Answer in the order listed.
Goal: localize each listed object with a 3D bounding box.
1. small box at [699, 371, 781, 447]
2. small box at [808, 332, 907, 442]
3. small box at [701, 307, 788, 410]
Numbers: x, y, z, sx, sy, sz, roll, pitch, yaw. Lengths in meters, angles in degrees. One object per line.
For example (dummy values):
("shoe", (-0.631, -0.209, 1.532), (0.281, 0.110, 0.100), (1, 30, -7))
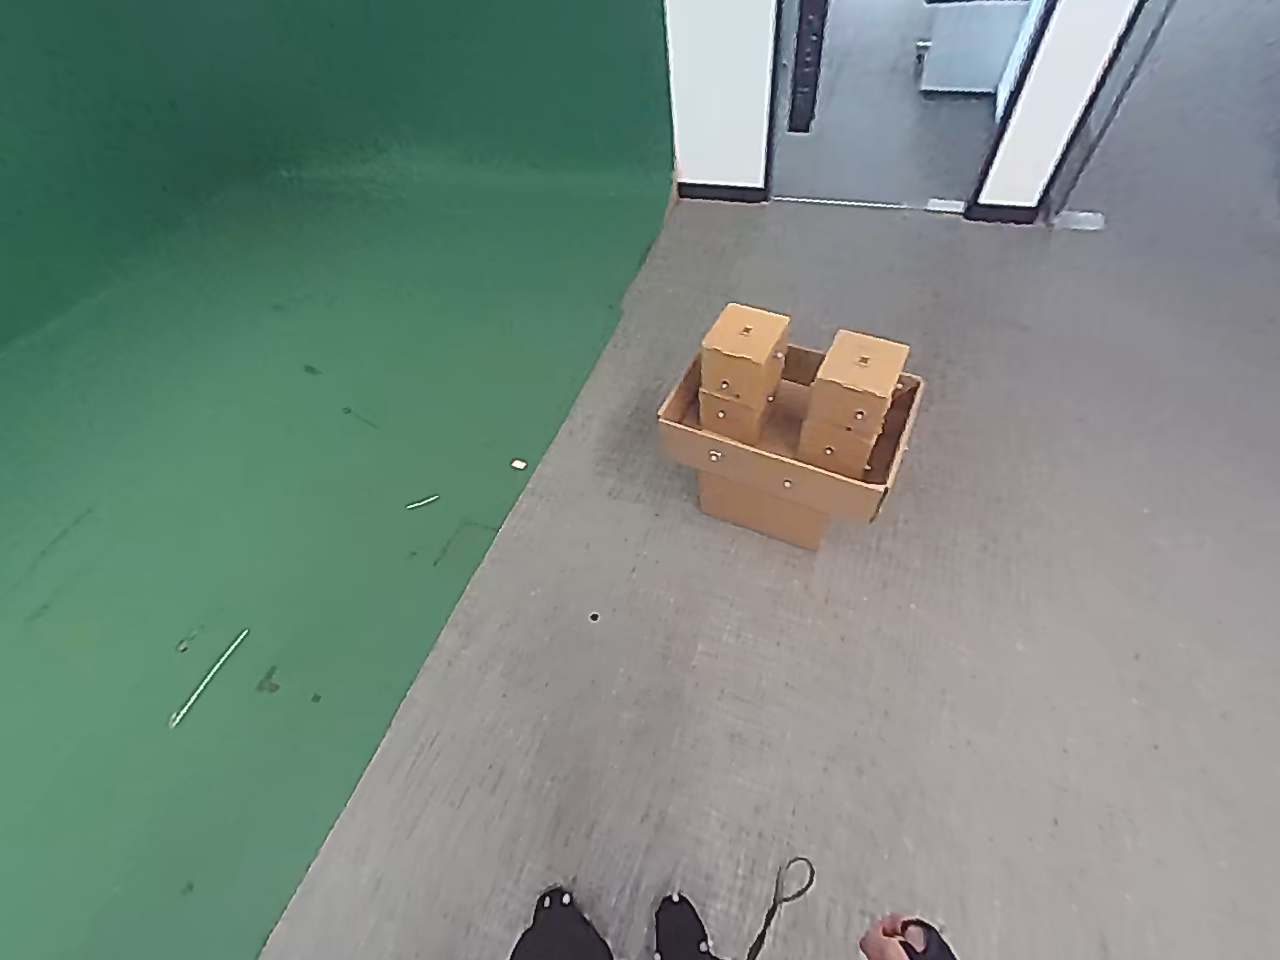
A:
("small box", (0.283, -0.221, 1.544), (0.179, 0.176, 0.168), (23, 62, 22))
("small box", (0.516, -0.221, 1.304), (0.168, 0.176, 0.179), (22, 60, 20))
("small box", (0.269, -0.315, 1.410), (0.168, 0.176, 0.179), (22, 62, 21))
